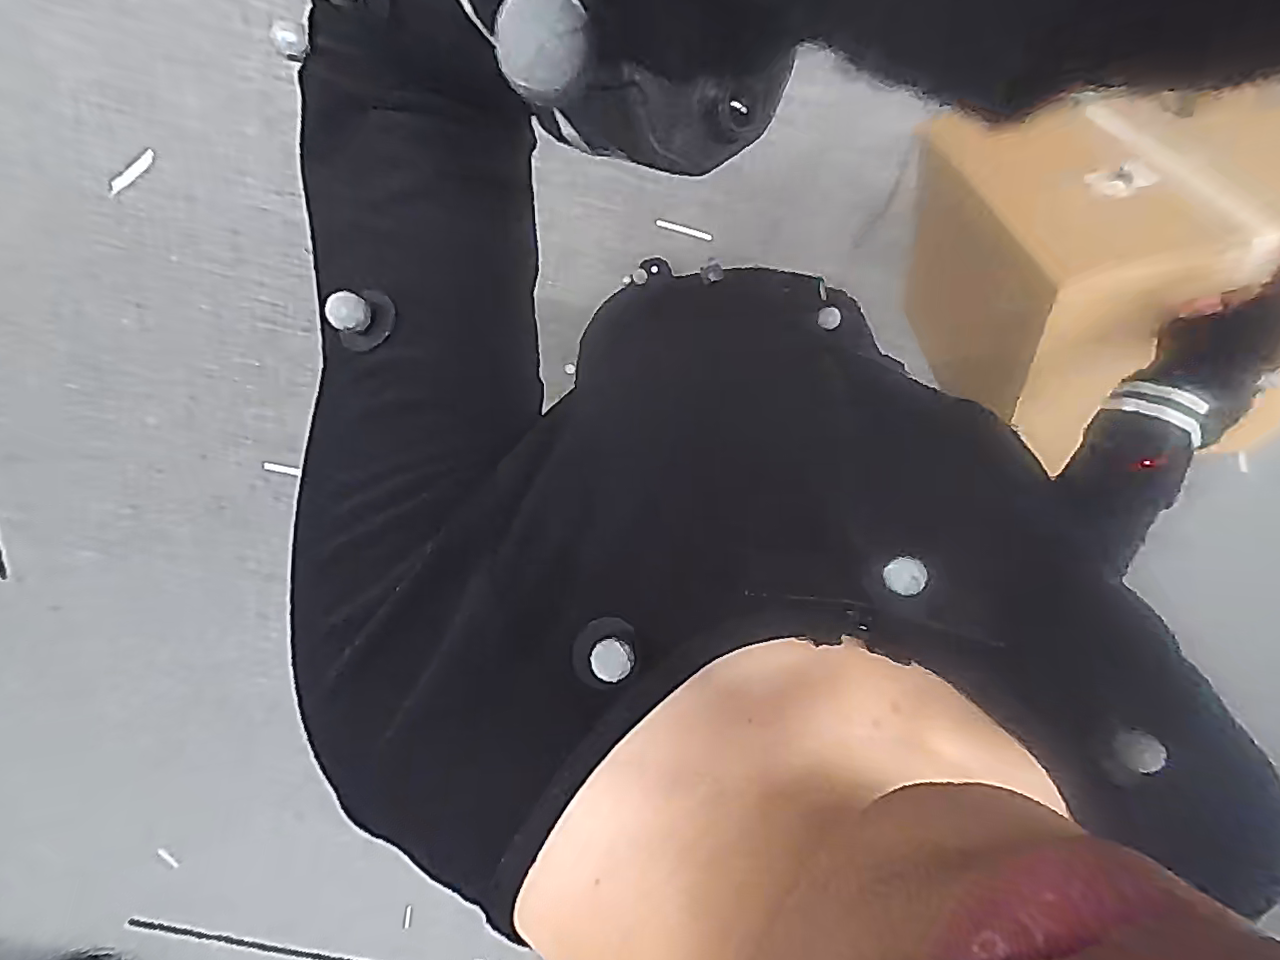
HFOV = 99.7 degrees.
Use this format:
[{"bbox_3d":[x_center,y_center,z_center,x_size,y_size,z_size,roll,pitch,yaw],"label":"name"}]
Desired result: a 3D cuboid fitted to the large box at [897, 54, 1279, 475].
[{"bbox_3d":[0.570,-0.269,0.706,0.320,0.408,0.320,-9,143,12],"label":"large box"}]
